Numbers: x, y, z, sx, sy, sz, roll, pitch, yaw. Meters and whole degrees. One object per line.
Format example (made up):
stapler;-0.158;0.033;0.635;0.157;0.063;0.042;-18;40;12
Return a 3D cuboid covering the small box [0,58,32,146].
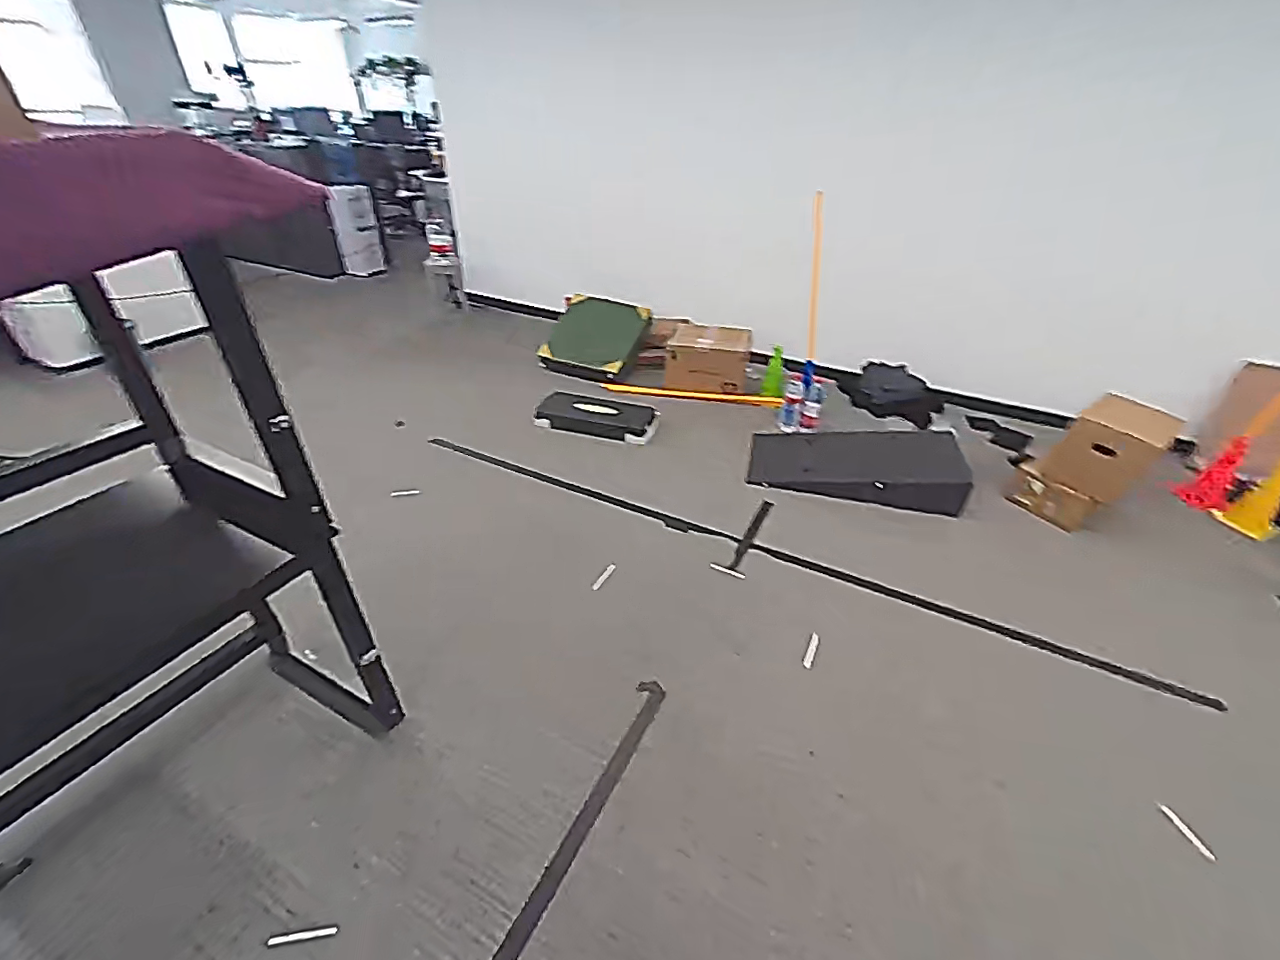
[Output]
small box;-0.916;-0.506;0.661;0.168;0.176;0.179;18;38;24
